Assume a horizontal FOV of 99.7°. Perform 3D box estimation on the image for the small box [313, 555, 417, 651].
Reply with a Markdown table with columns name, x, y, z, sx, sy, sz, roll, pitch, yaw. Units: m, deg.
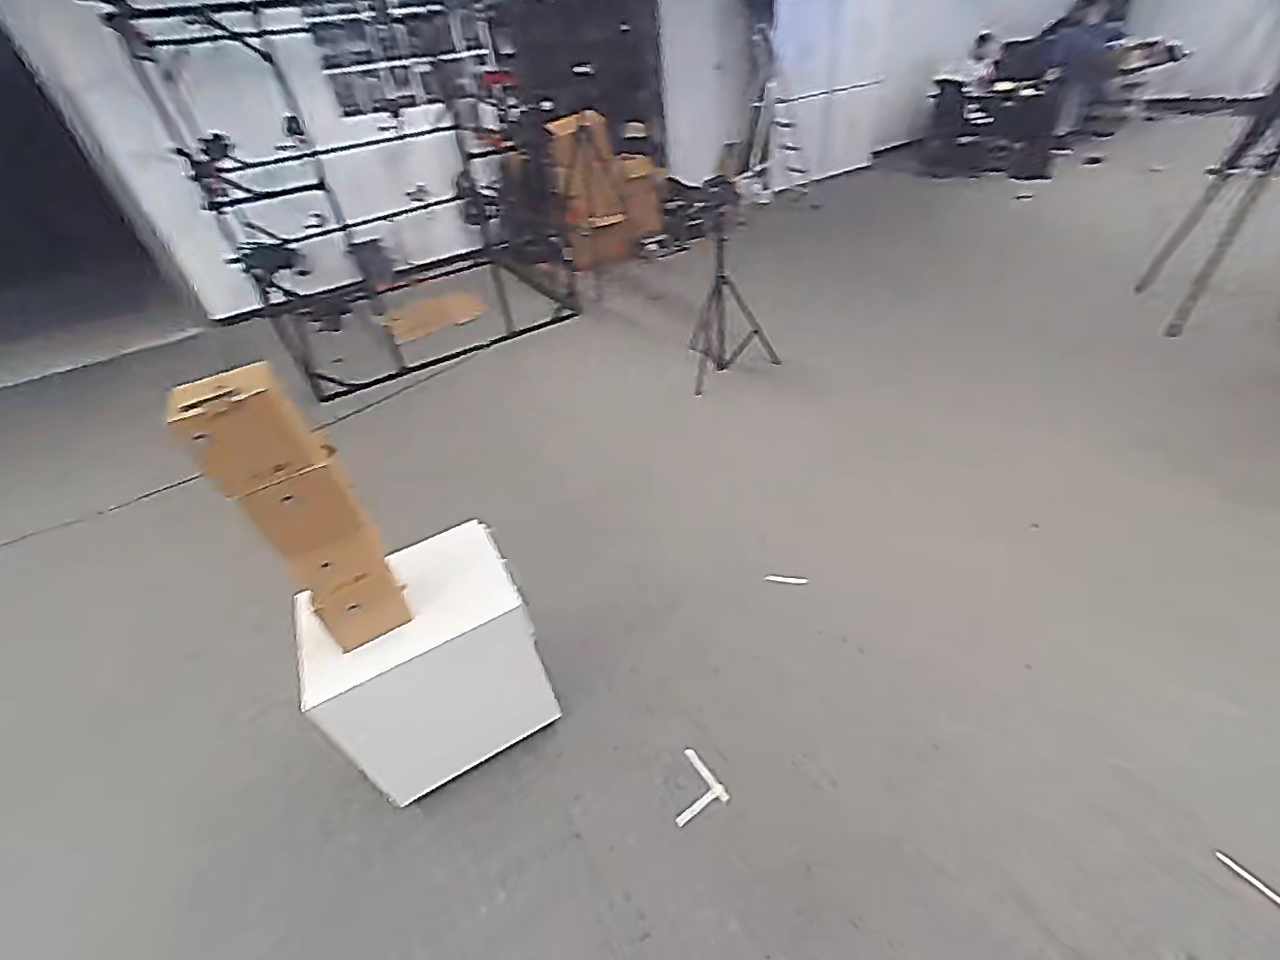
| name | x | y | z | sx | sy | sz | roll | pitch | yaw |
| --- | --- | --- | --- | --- | --- | --- | --- | --- | --- |
| small box | -0.687 | 0.291 | 1.349 | 0.179 | 0.176 | 0.168 | -25 | 42 | -21 |

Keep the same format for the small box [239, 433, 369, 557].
| name | x | y | z | sx | sy | sz | roll | pitch | yaw |
| --- | --- | --- | --- | --- | --- | --- | --- | --- | --- |
| small box | -0.709 | 0.033 | 1.148 | 0.179 | 0.176 | 0.168 | -25 | 41 | -20 |

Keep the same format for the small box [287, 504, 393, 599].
| name | x | y | z | sx | sy | sz | roll | pitch | yaw |
| --- | --- | --- | --- | --- | --- | --- | --- | --- | --- |
| small box | -0.701 | 0.153 | 1.263 | 0.168 | 0.176 | 0.179 | -25 | 41 | -20 |
